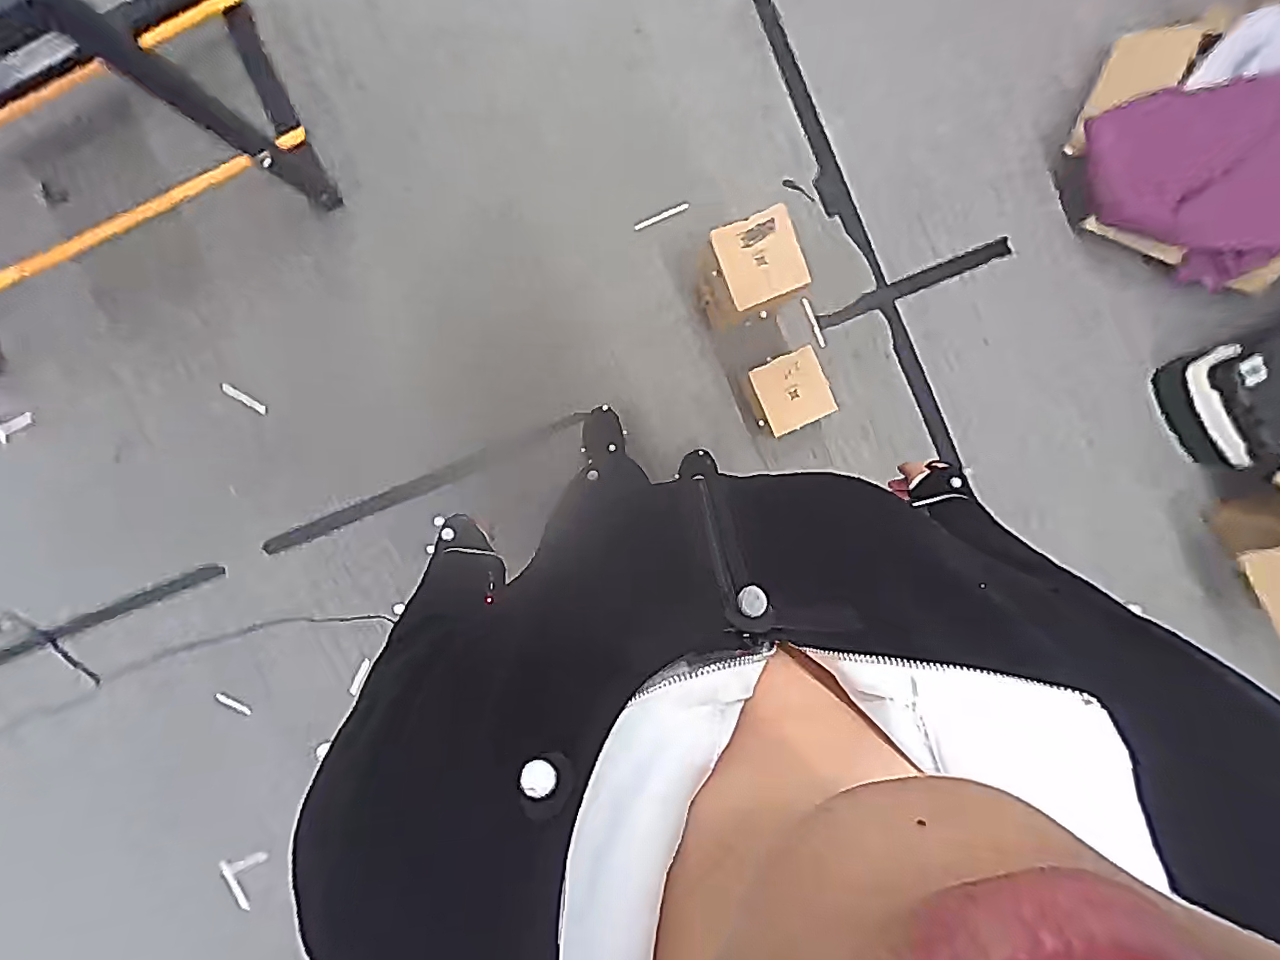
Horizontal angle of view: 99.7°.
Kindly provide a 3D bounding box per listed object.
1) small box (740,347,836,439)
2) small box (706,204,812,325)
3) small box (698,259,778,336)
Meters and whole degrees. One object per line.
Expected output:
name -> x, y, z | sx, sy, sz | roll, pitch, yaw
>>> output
small box -> 0.369, -0.217, 1.376 | 0.168, 0.176, 0.179 | -24, 94, 4
small box -> 0.252, -0.464, 1.191 | 0.168, 0.176, 0.179 | -21, 94, 4
small box -> 0.251, -0.478, 1.357 | 0.179, 0.176, 0.168 | -20, 94, 5
